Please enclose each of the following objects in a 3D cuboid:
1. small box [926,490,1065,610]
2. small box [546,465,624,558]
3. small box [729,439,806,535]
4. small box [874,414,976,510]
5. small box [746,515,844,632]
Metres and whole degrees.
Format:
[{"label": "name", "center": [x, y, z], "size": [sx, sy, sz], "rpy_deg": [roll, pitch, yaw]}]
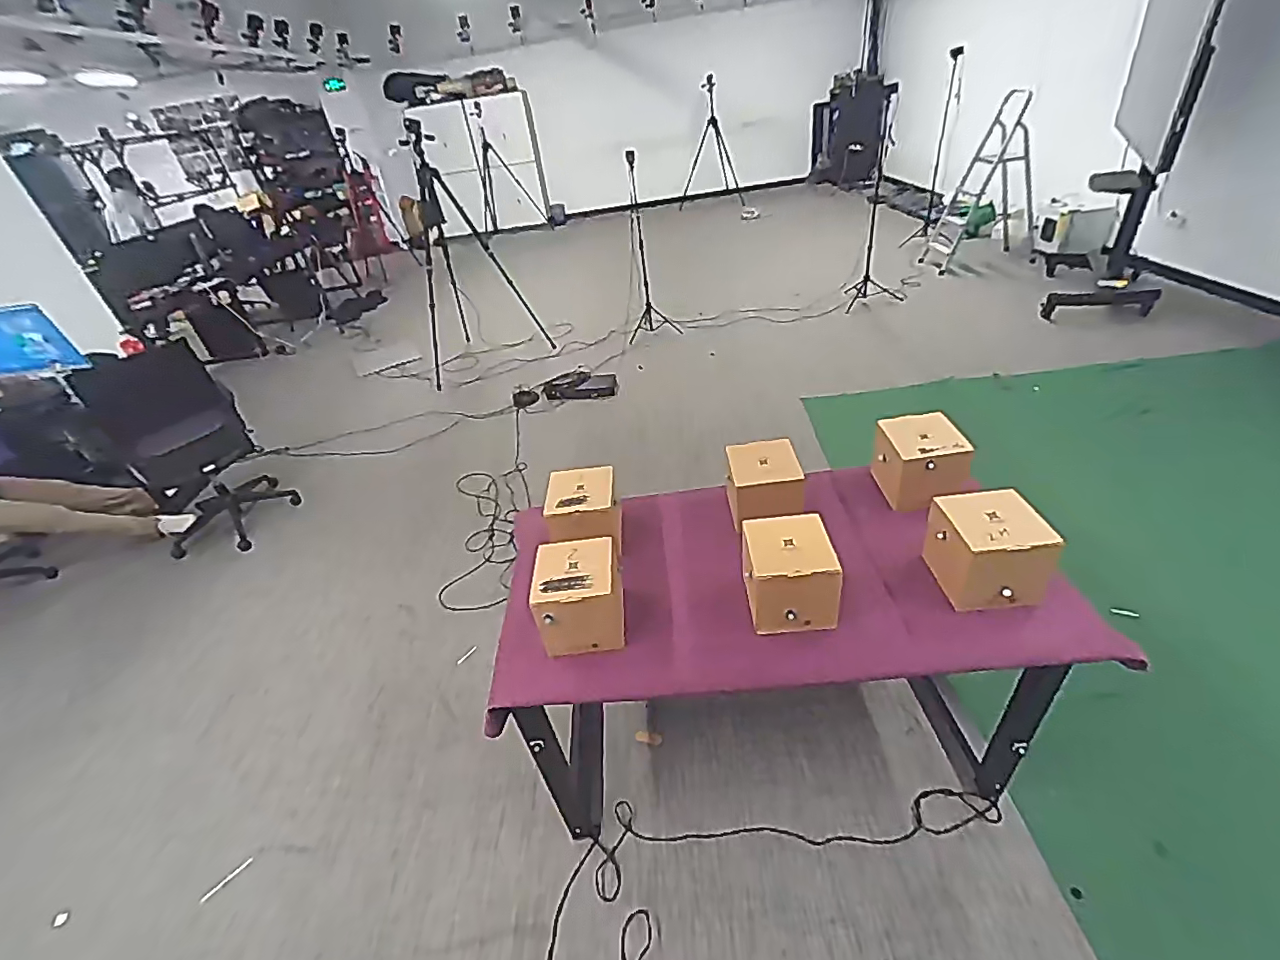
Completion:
[{"label": "small box", "center": [0.717, 0.144, 1.117], "size": [0.168, 0.176, 0.179], "rpy_deg": [-7, 35, 6]}, {"label": "small box", "center": [-0.133, 0.086, 1.388], "size": [0.168, 0.176, 0.179], "rpy_deg": [-6, 37, 4]}, {"label": "small box", "center": [0.320, 0.018, 1.385], "size": [0.168, 0.176, 0.179], "rpy_deg": [-6, 38, 5]}, {"label": "small box", "center": [0.713, -0.046, 1.376], "size": [0.168, 0.176, 0.179], "rpy_deg": [-8, 37, 5]}, {"label": "small box", "center": [0.317, 0.196, 1.142], "size": [0.168, 0.176, 0.179], "rpy_deg": [-6, 35, 4]}]
